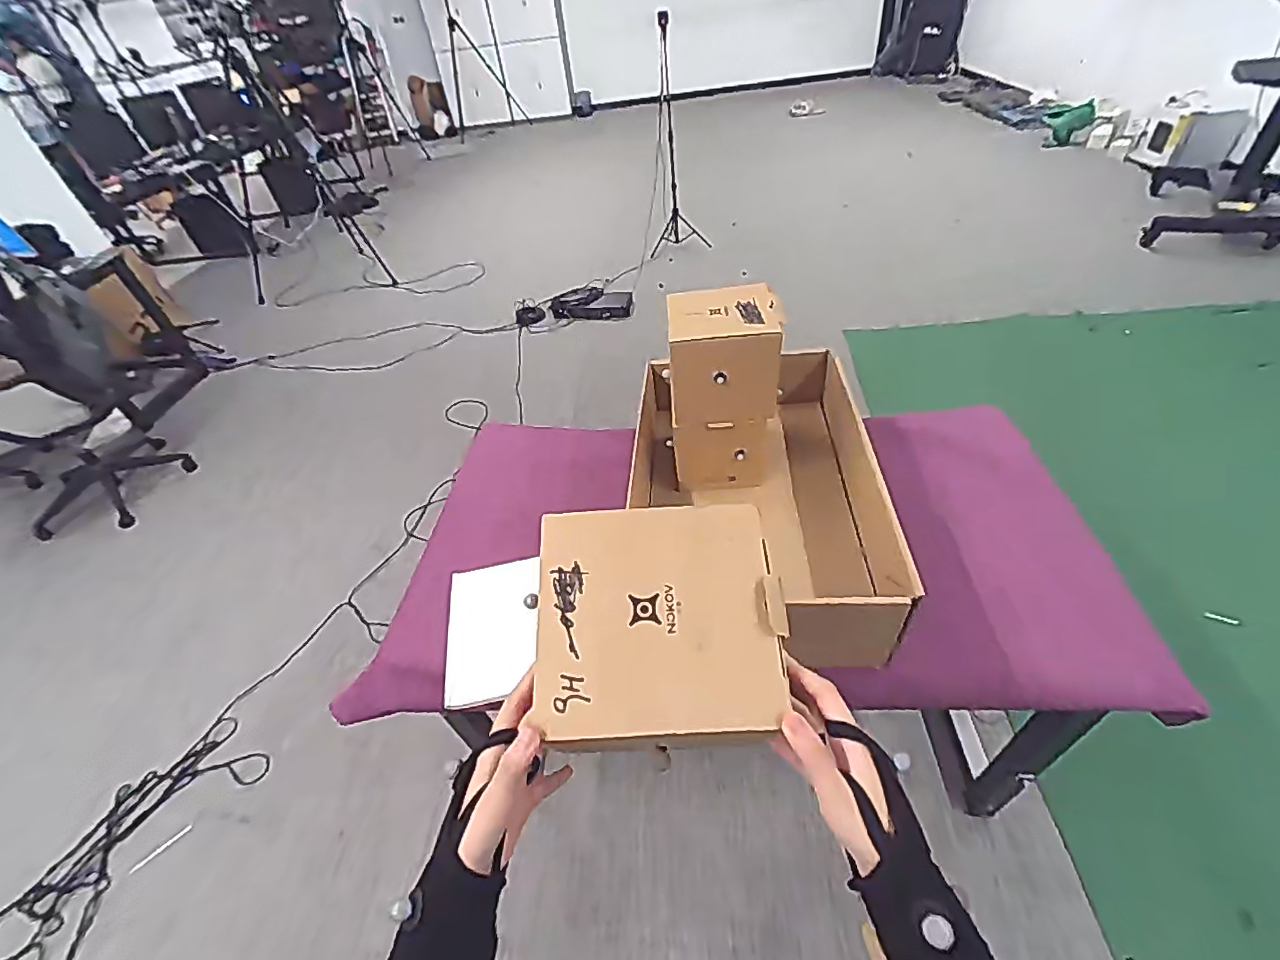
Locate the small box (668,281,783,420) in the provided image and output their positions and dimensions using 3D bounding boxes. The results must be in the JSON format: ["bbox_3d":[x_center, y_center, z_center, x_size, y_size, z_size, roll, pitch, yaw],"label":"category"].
[{"bbox_3d":[0.140,-0.220,0.934,0.179,0.176,0.168,-4,44,5],"label":"small box"}]

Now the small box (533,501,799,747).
[{"bbox_3d":[0.015,0.128,0.457,0.179,0.176,0.168,-1,60,-1],"label":"small box"}]
